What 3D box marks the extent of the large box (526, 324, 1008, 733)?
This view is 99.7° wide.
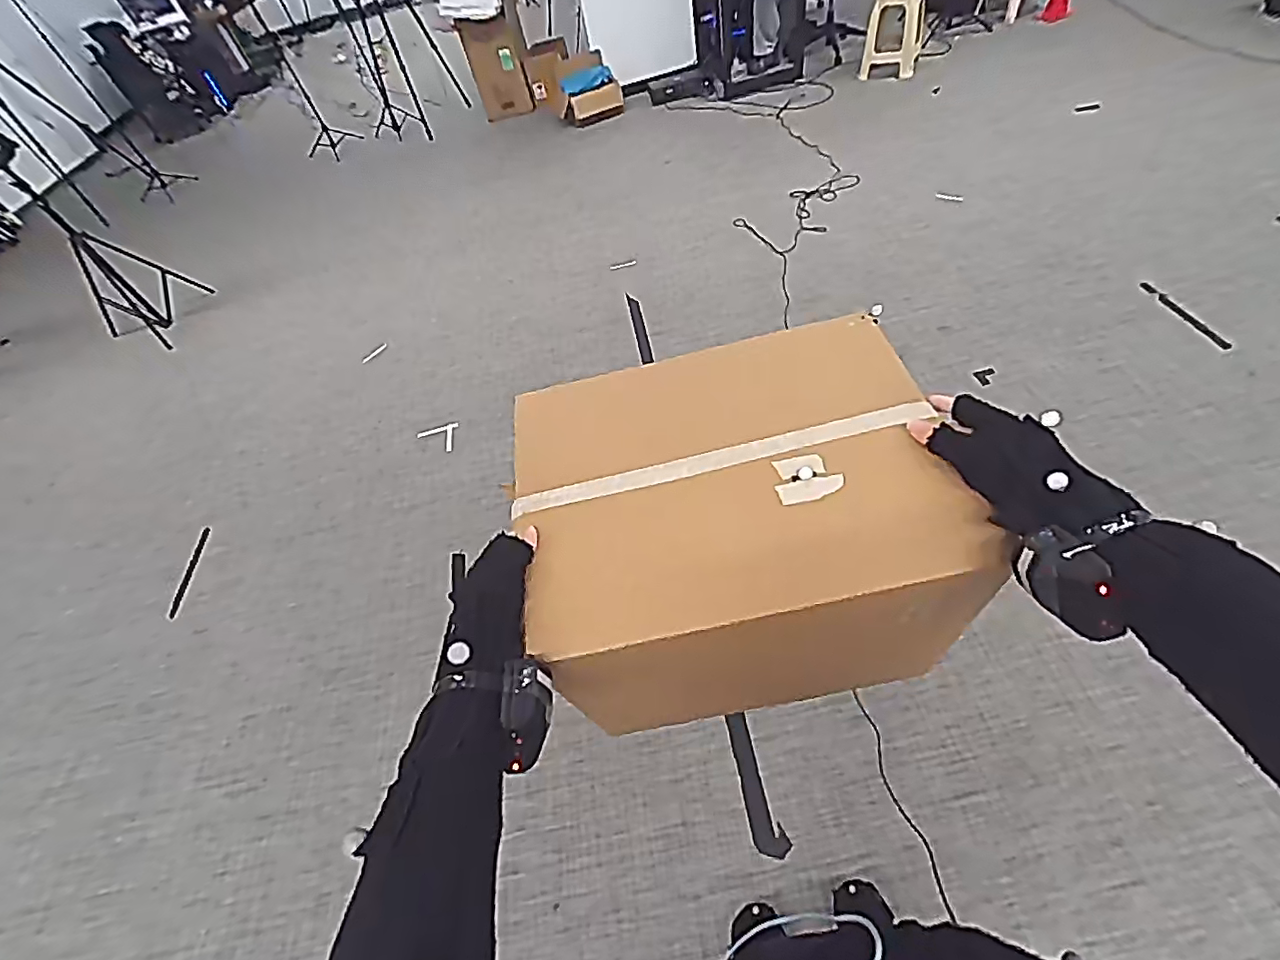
[{"bbox_3d":[0.107,0.073,0.649,0.408,0.320,0.320,-13,54,2],"label":"large box"}]
